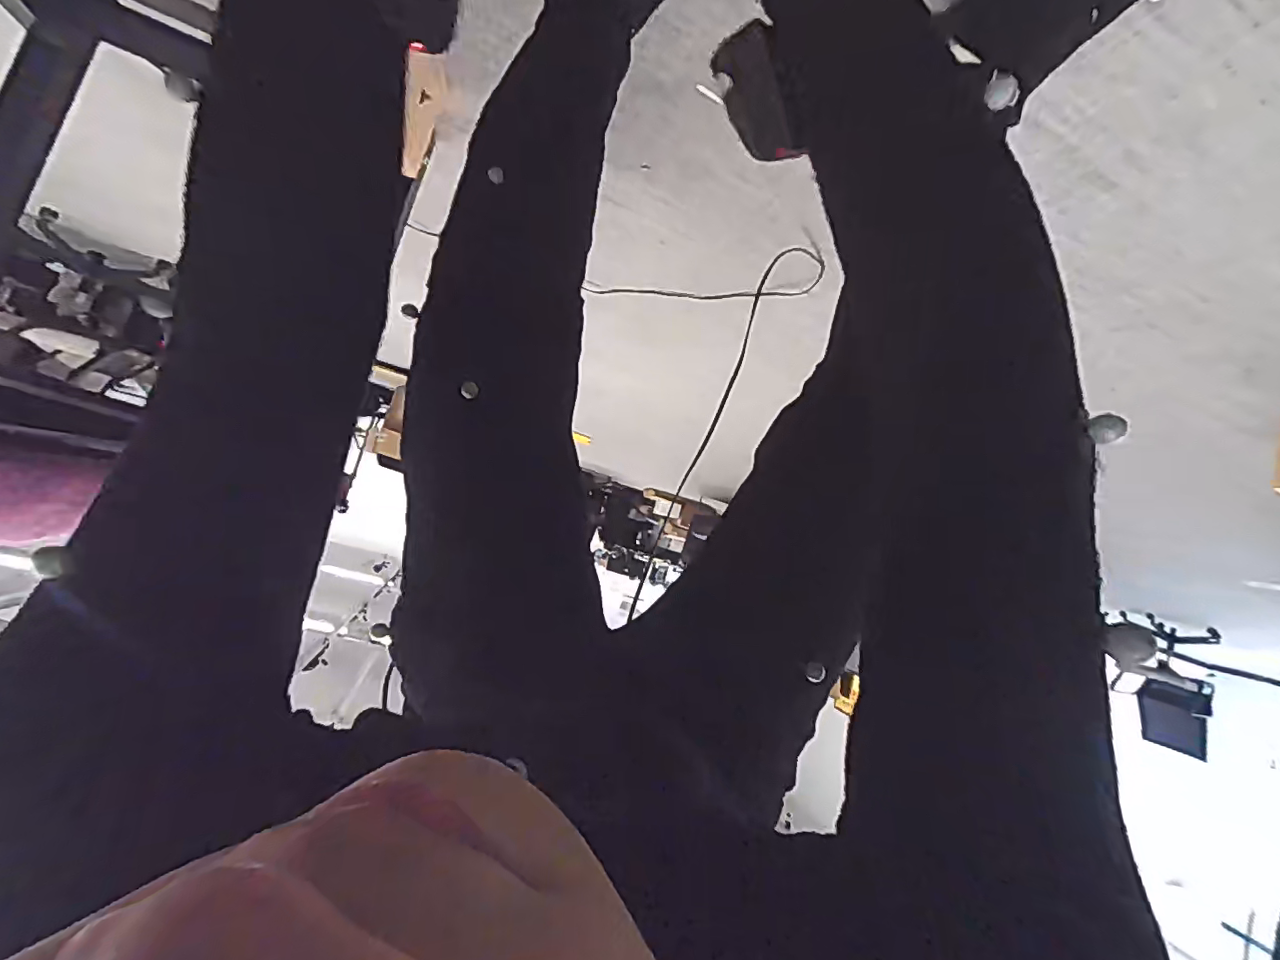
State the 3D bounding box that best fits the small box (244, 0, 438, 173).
[{"bbox_3d":[-0.404,-0.589,0.769,0.179,0.176,0.168,17,174,-7],"label":"small box"}]
